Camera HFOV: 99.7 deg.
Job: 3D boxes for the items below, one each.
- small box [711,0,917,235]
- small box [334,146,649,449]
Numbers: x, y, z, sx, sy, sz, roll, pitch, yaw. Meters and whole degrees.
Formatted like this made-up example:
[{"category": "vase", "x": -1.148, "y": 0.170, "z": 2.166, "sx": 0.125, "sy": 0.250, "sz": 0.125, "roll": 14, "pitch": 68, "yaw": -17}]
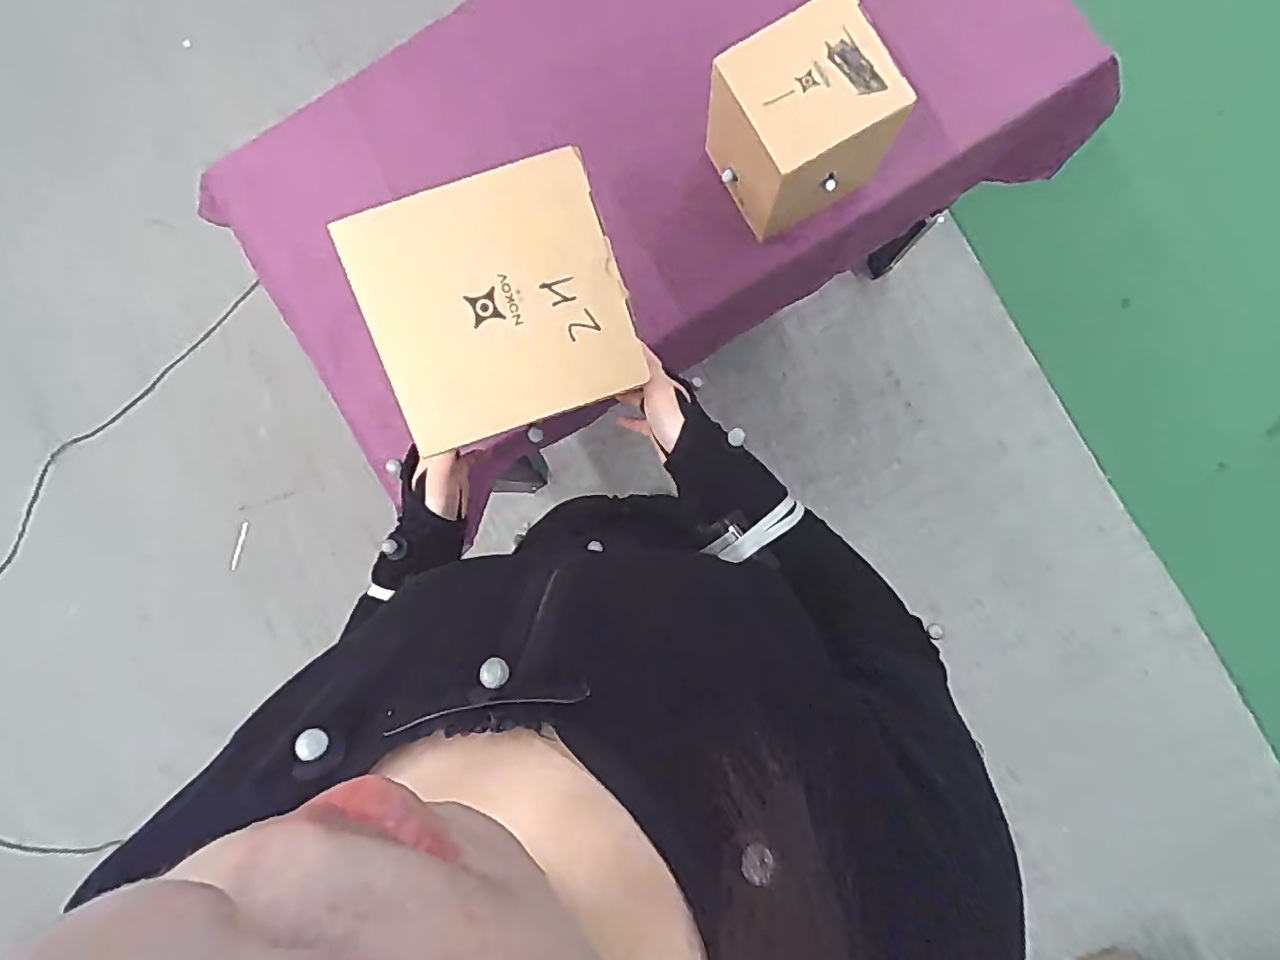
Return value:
[{"category": "small box", "x": 0.204, "y": -0.457, "z": 0.692, "sx": 0.179, "sy": 0.176, "sz": 0.168, "roll": -29, "pitch": 86, "yaw": 3}, {"category": "small box", "x": -0.103, "y": -0.132, "z": 0.447, "sx": 0.179, "sy": 0.176, "sz": 0.168, "roll": -18, "pitch": 100, "yaw": -2}]
